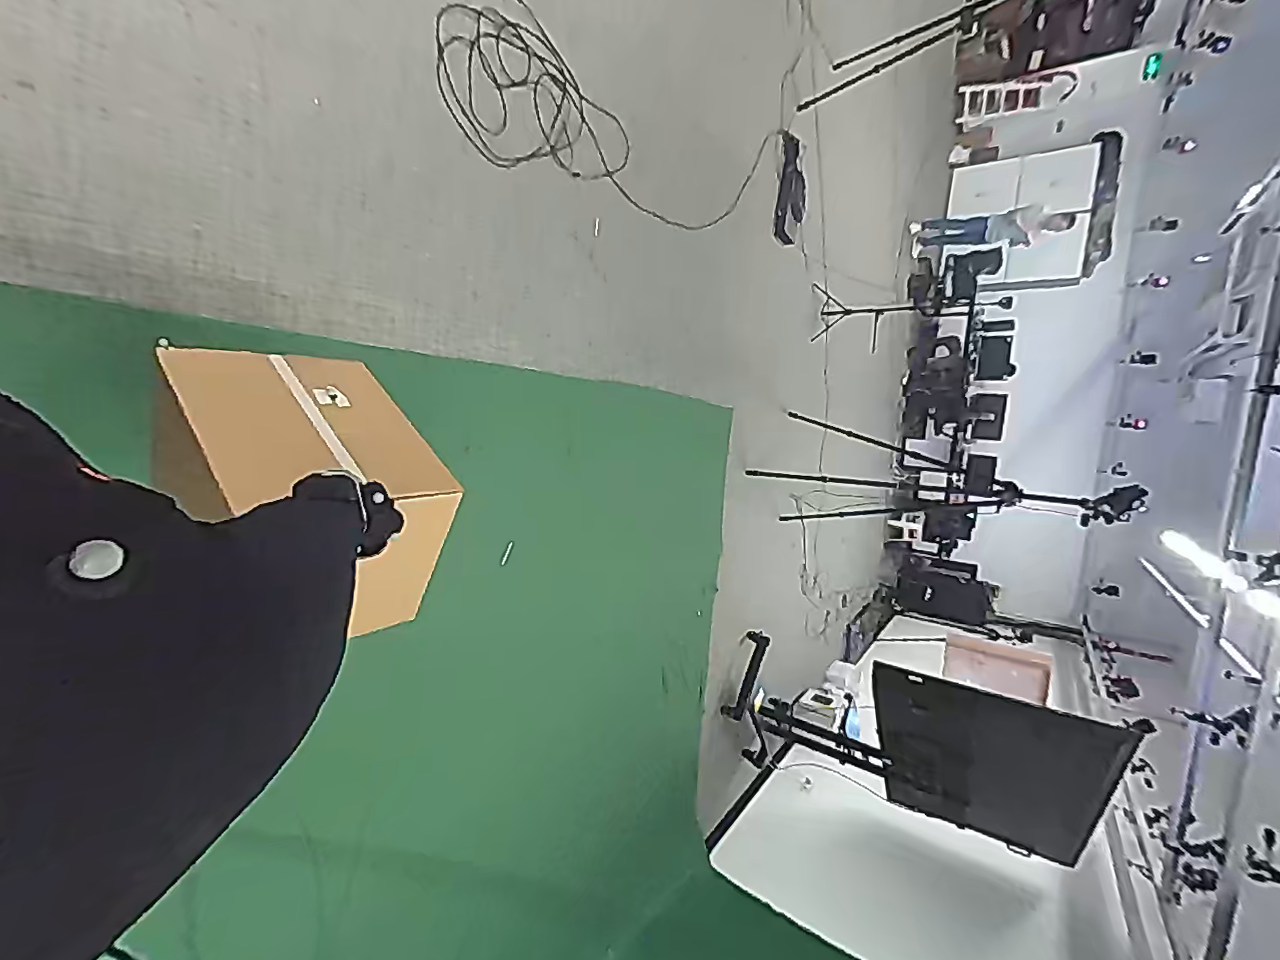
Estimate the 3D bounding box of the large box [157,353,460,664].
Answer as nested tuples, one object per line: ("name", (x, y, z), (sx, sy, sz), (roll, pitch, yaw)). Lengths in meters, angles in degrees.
("large box", (-0.581, 0.026, 0.931), (0.320, 0.408, 0.320), (-8, 134, -51))
